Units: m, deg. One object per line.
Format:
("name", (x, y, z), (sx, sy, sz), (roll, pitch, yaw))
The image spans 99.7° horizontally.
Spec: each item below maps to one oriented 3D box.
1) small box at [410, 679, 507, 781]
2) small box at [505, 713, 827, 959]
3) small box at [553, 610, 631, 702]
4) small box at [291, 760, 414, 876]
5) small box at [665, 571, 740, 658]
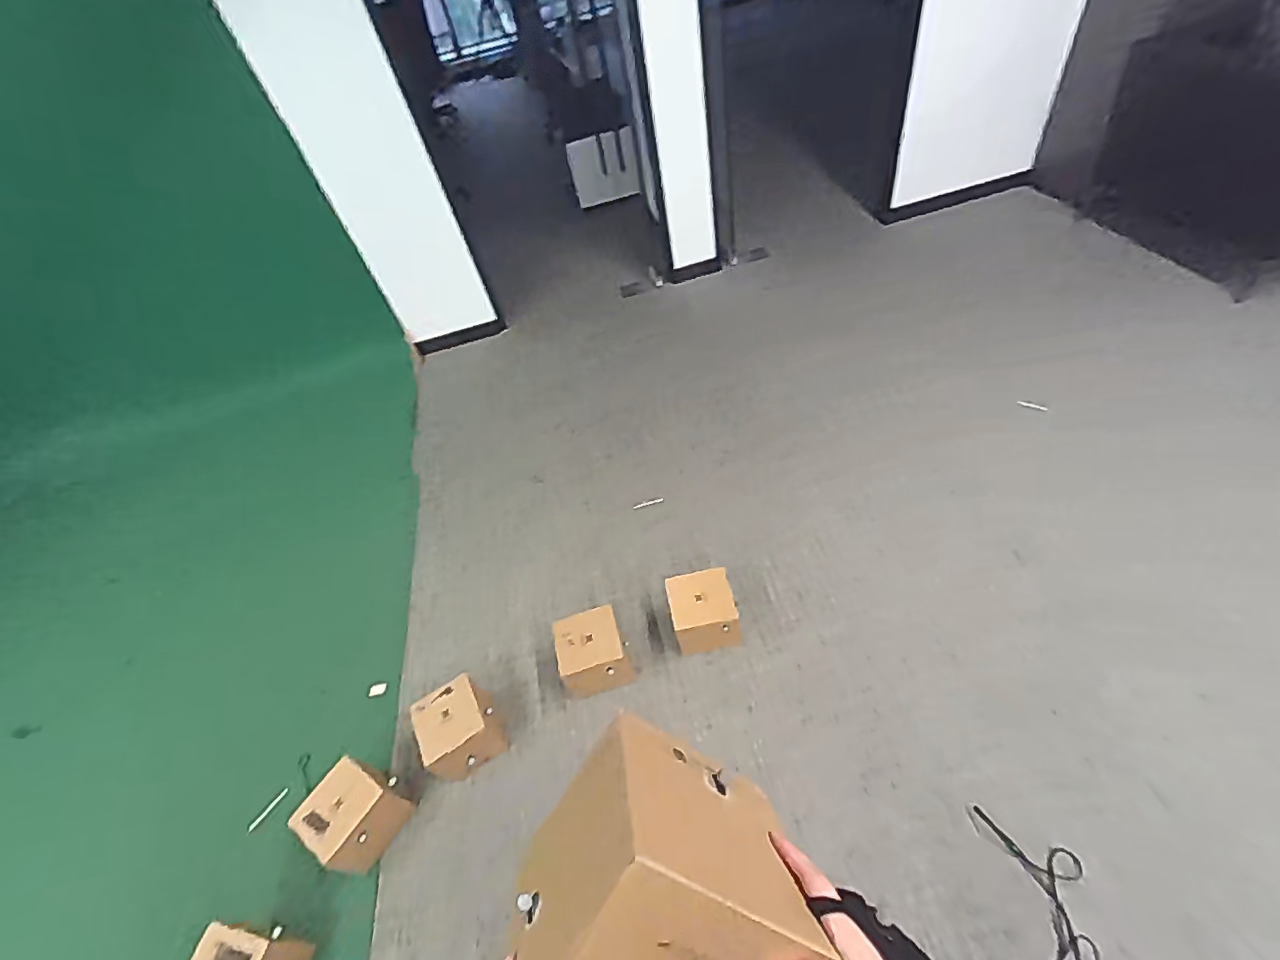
("small box", (-0.478, 0.672, 1.439), (0.168, 0.176, 0.179), (-30, 49, -13))
("small box", (0.009, 0.332, 0.432), (0.179, 0.168, 0.176), (-56, 9, 5))
("small box", (-0.129, 0.495, 1.513), (0.179, 0.176, 0.168), (-17, 46, -2))
("small box", (-0.704, 0.842, 1.342), (0.168, 0.176, 0.179), (20, 55, 29))
("small box", (0.179, 0.388, 1.538), (0.179, 0.176, 0.168), (-13, 47, 1))
